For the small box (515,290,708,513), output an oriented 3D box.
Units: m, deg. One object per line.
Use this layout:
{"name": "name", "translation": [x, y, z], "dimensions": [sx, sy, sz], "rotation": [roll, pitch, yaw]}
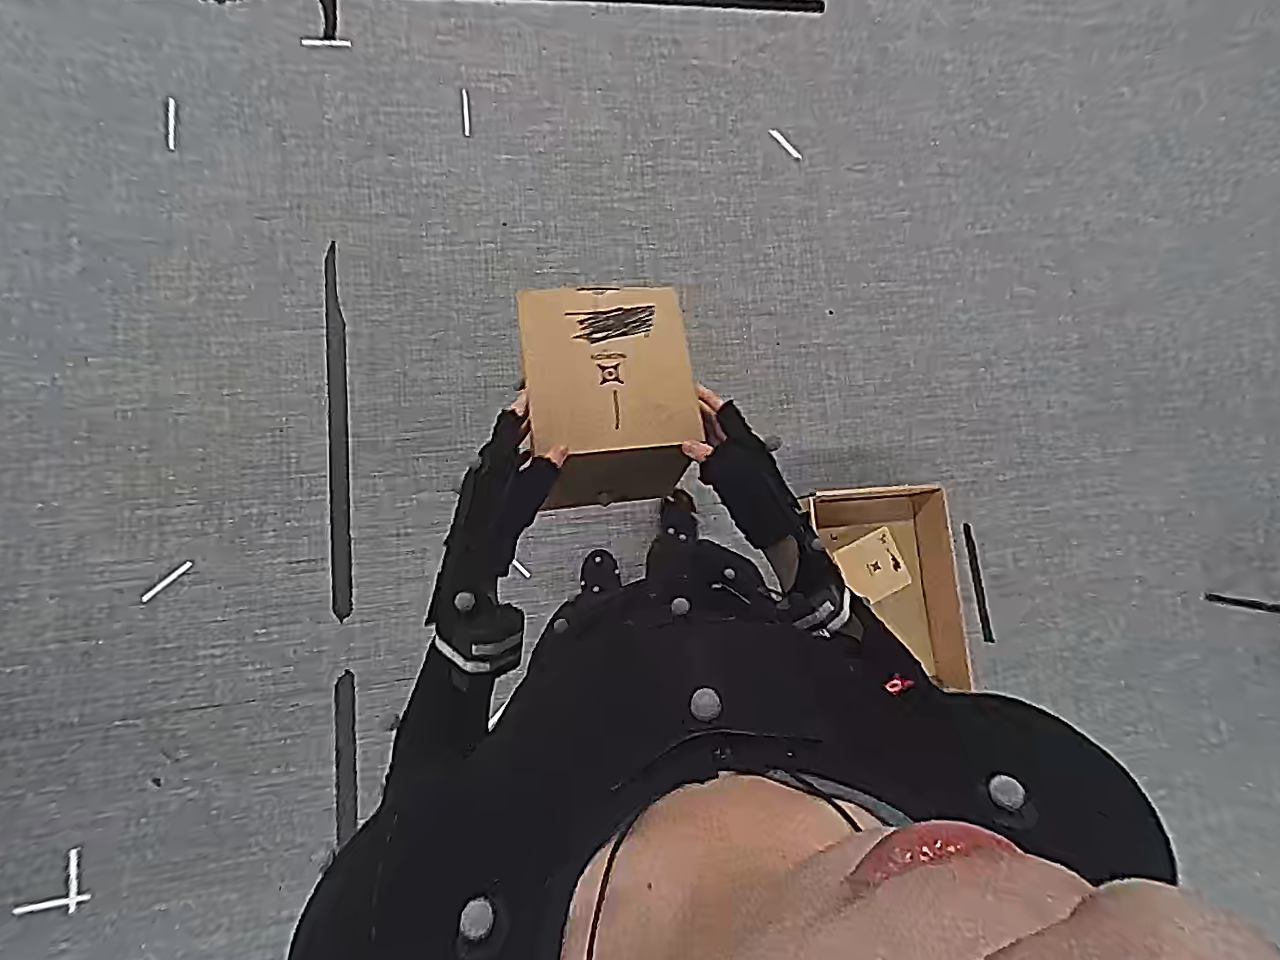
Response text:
{"name": "small box", "translation": [-0.043, -0.079, 0.591], "dimensions": [0.168, 0.176, 0.179], "rotation": [-8, 71, -12]}
